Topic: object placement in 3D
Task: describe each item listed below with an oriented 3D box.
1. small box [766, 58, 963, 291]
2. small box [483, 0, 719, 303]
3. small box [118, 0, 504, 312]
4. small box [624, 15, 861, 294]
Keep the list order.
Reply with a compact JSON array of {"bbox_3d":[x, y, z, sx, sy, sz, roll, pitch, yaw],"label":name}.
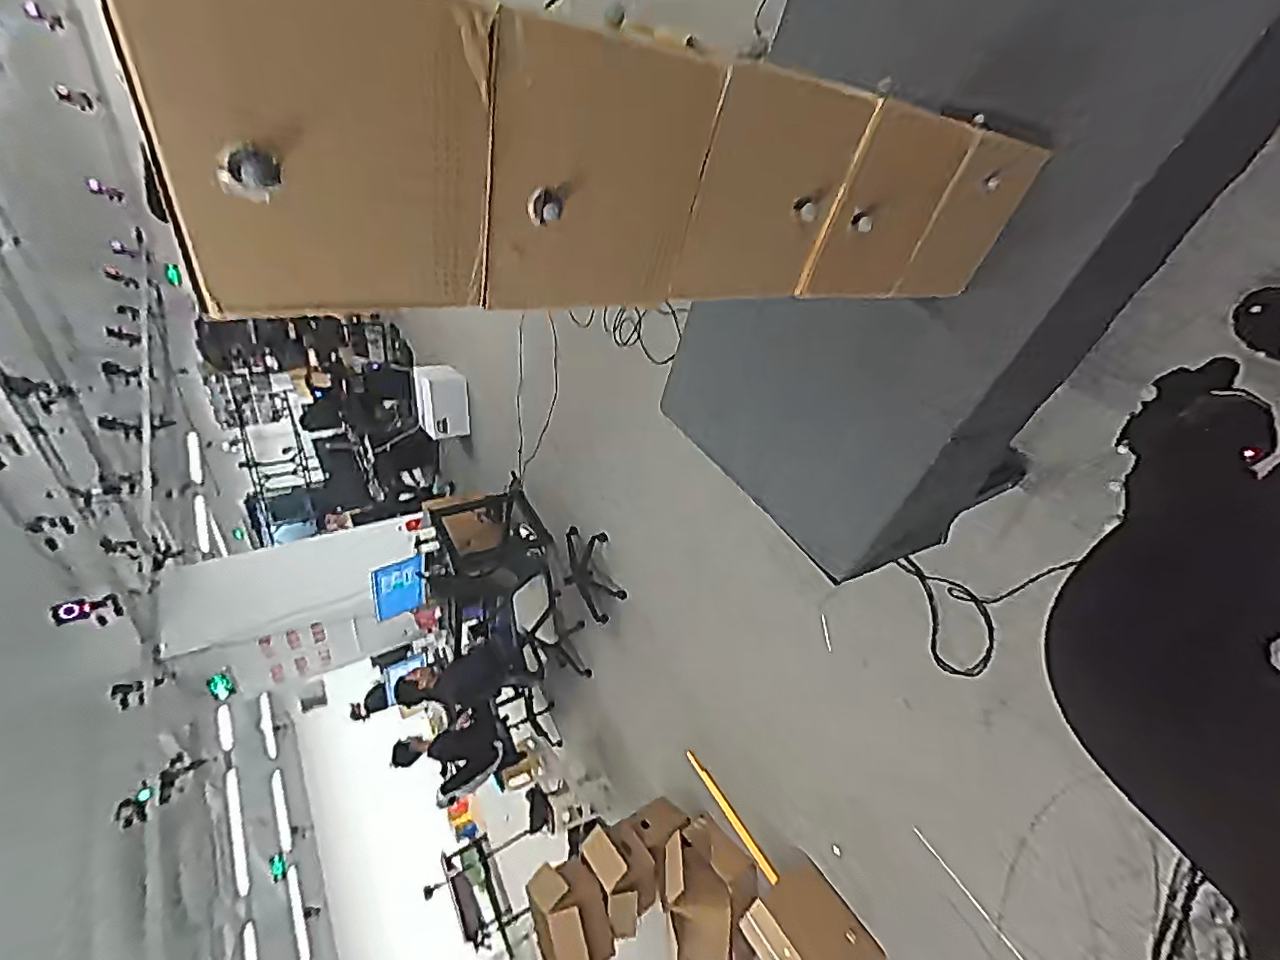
[{"bbox_3d":[0.214,-0.328,0.596,0.168,0.176,0.179,50,140,35],"label":"small box"},{"bbox_3d":[-0.063,-0.261,0.433,0.168,0.176,0.179,50,139,34],"label":"small box"},{"bbox_3d":[-0.196,-0.229,0.344,0.168,0.176,0.179,51,141,32],"label":"small box"},{"bbox_3d":[0.076,-0.296,0.515,0.168,0.176,0.179,52,140,33],"label":"small box"}]
